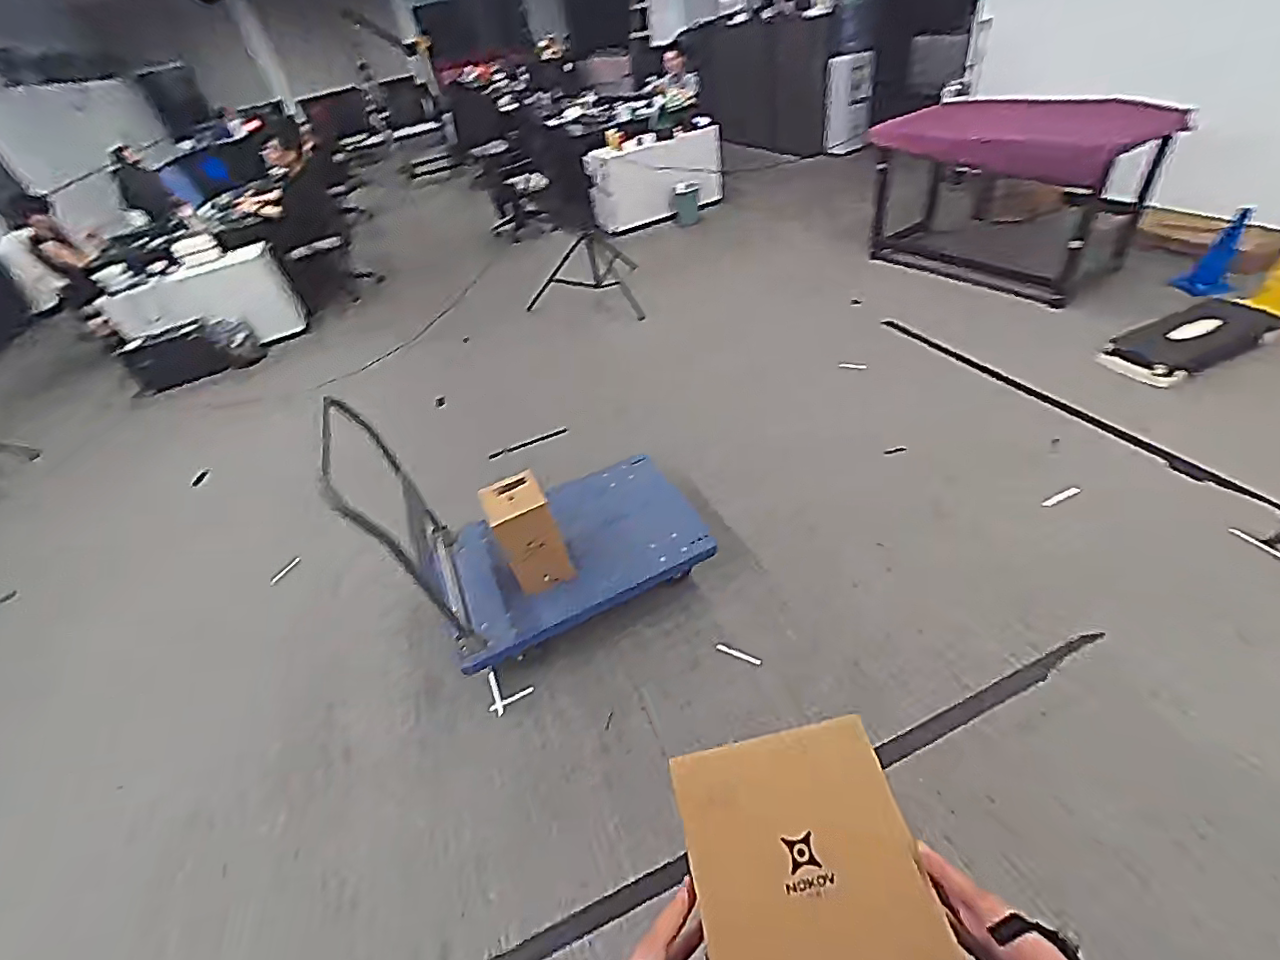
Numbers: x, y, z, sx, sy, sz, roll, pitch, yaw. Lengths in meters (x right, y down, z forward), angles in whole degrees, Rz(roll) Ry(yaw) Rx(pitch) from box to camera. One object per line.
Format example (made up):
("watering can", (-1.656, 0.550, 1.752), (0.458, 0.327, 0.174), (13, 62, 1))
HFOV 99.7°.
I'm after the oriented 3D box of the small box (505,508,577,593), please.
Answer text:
("small box", (-0.314, 0.225, 1.716), (0.168, 0.176, 0.179), (-21, 42, -9))
